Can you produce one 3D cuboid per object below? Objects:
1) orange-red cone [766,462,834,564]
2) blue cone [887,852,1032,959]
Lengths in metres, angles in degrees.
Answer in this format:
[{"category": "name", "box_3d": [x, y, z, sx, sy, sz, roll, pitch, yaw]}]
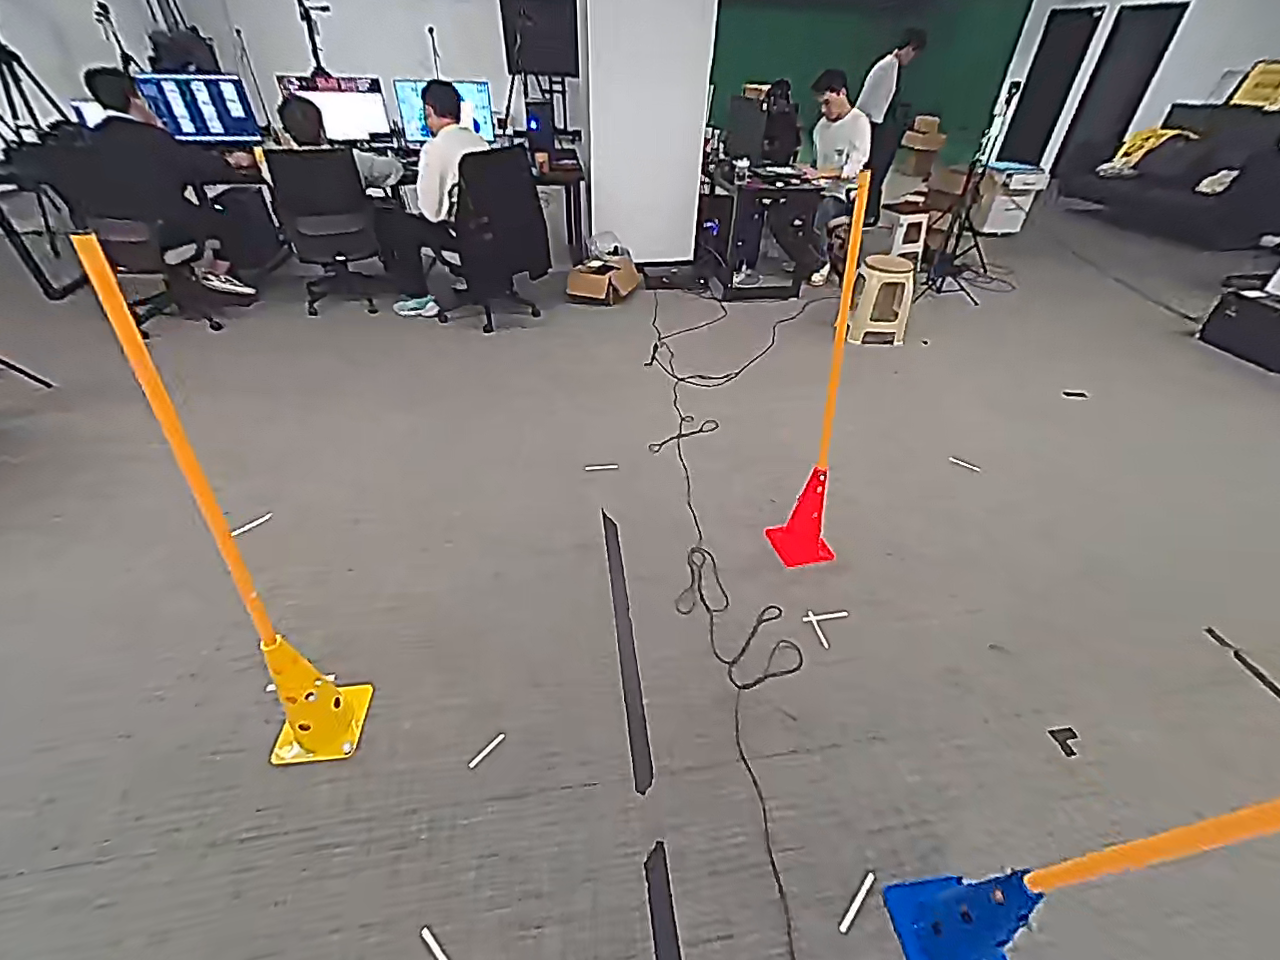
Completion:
[{"category": "orange-red cone", "box_3d": [0.582, 0.092, 1.862, 0.199, 0.360, 0.198, -8, 39, -10]}, {"category": "blue cone", "box_3d": [0.627, 0.789, 0.998, 0.193, 0.380, 0.192, -2, 38, -5]}]
